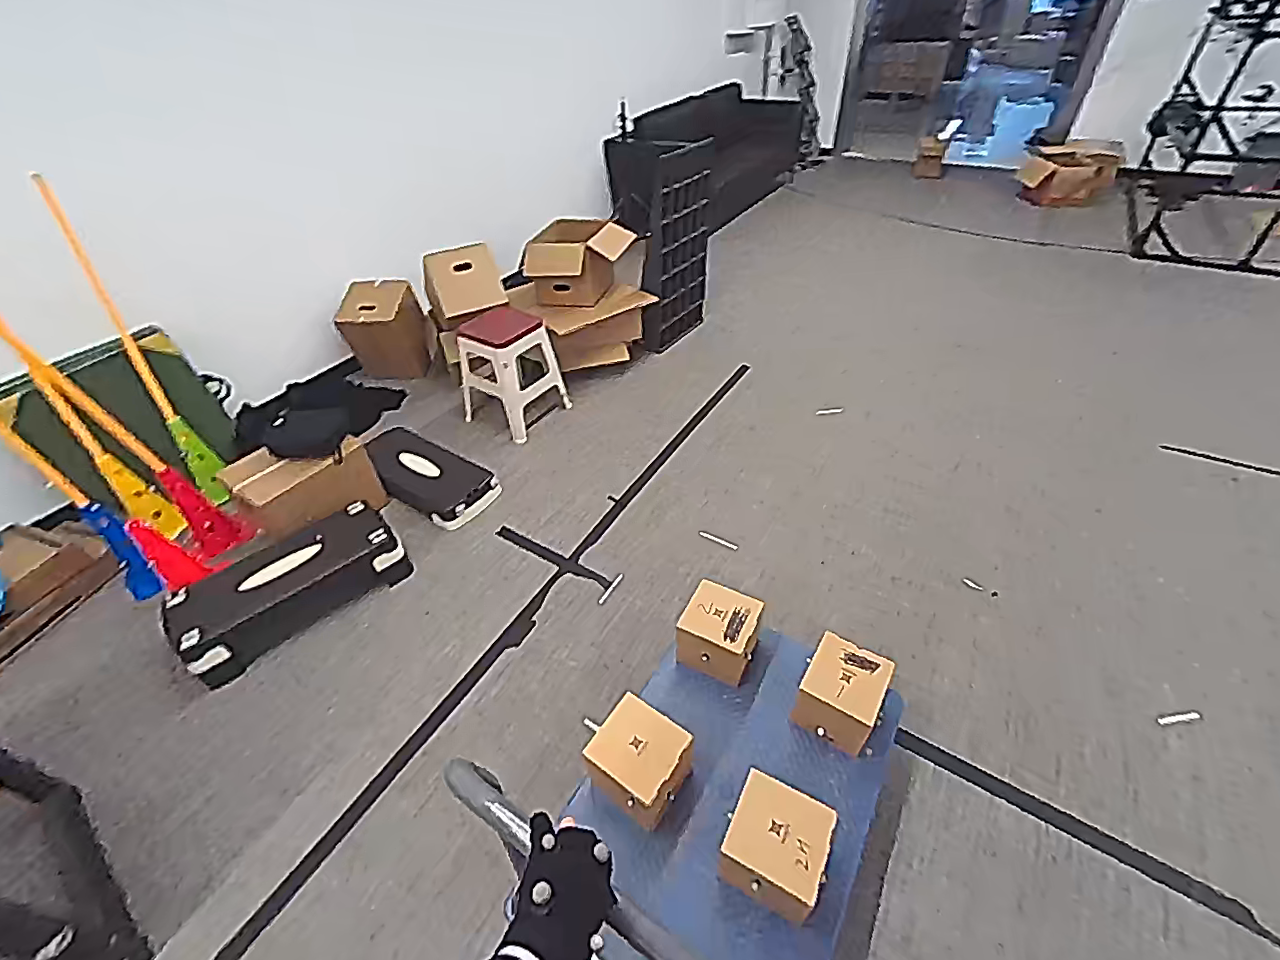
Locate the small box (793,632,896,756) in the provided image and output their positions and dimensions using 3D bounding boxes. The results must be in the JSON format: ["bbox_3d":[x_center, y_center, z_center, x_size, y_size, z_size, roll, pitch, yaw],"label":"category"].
[{"bbox_3d":[0.474,0.504,1.274,0.168,0.176,0.179,24,49,26],"label":"small box"}]

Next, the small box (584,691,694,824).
[{"bbox_3d":[-0.002,0.610,1.185,0.179,0.176,0.168,26,49,26],"label":"small box"}]

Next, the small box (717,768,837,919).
[{"bbox_3d":[0.261,0.711,1.055,0.179,0.176,0.168,20,47,23],"label":"small box"}]
